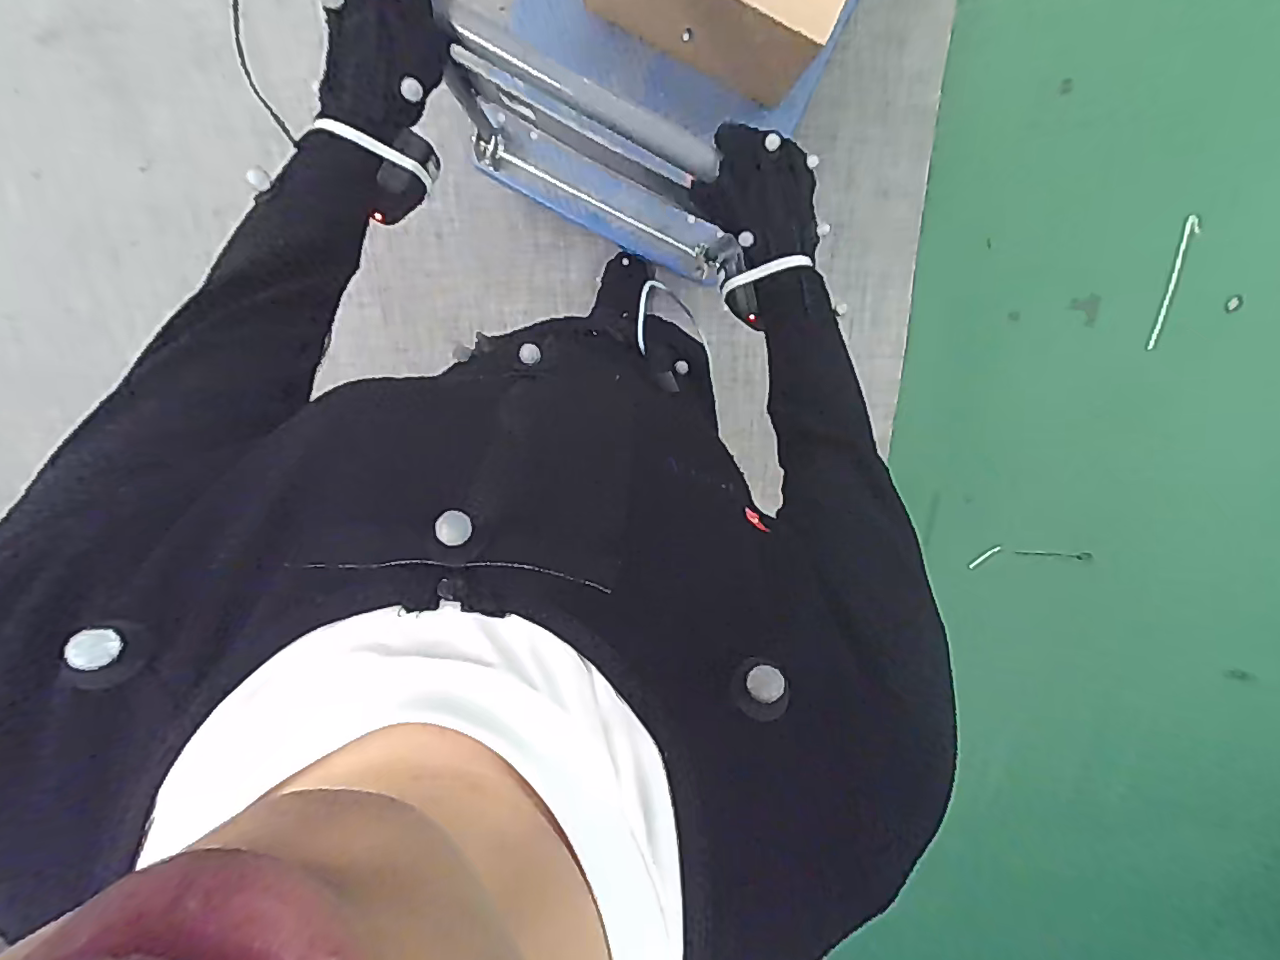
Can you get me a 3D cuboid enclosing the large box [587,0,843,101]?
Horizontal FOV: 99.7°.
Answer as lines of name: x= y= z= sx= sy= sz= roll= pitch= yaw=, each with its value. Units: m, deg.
large box: x=0.142 y=-0.888 z=0.852 sx=0.408 sy=0.320 sz=0.320 roll=22 pitch=108 yaw=-8
